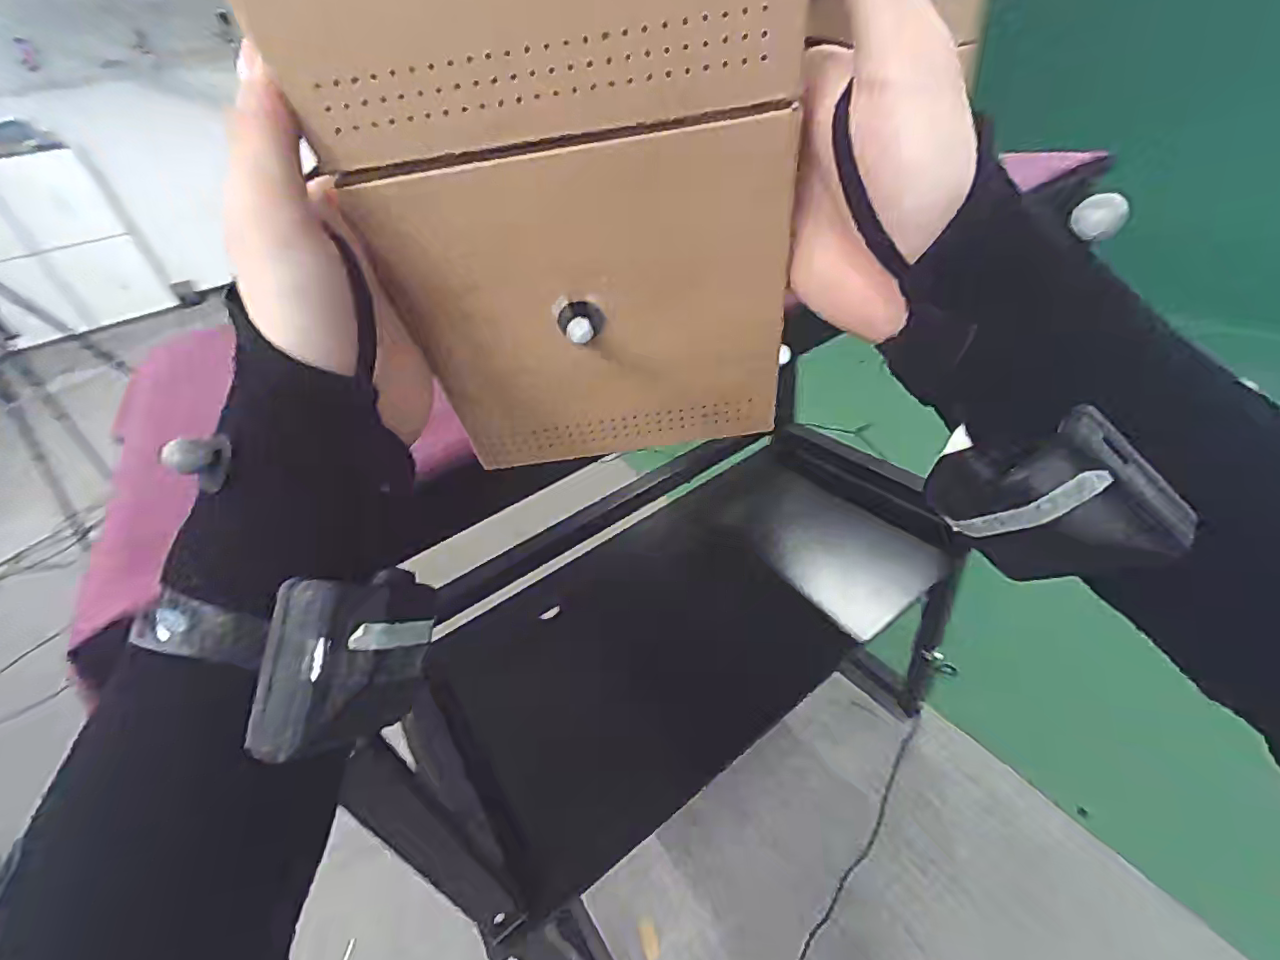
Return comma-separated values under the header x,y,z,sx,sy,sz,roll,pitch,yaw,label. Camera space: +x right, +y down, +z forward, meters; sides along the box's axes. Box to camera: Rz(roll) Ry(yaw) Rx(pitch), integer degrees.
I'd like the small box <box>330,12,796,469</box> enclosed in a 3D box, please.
x,y,z,sx,sy,sz,roll,pitch,yaw,label
-0.025,-0.126,0.307,0.179,0.176,0.168,-8,50,4,small box

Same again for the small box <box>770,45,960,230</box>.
x,y,z,sx,sy,sz,roll,pitch,yaw,label
0.281,-0.444,0.714,0.179,0.176,0.168,-27,40,-19,small box

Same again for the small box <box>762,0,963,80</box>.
x,y,z,sx,sy,sz,roll,pitch,yaw,label
0.254,-0.573,0.617,0.179,0.176,0.168,-29,41,-19,small box
